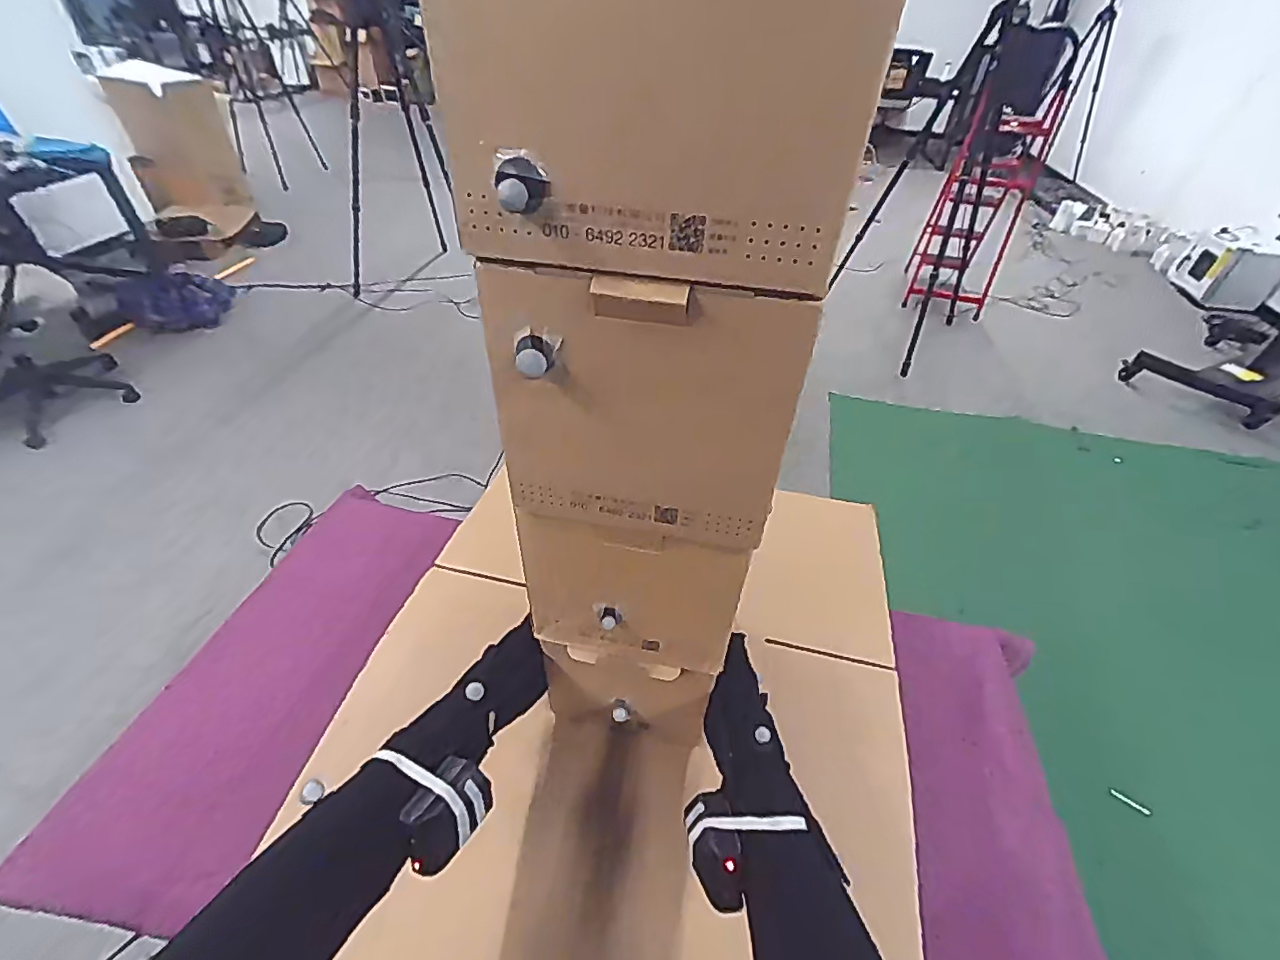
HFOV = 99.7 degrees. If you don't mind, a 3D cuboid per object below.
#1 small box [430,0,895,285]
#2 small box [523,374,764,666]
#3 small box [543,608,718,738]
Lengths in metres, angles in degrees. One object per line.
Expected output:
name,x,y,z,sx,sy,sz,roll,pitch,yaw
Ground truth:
small box,0.019,-0.206,0.249,0.168,0.176,0.179,9,42,7
small box,0.009,0.032,0.478,0.168,0.176,0.179,9,43,7
small box,0.005,0.147,0.593,0.168,0.176,0.179,10,43,9
